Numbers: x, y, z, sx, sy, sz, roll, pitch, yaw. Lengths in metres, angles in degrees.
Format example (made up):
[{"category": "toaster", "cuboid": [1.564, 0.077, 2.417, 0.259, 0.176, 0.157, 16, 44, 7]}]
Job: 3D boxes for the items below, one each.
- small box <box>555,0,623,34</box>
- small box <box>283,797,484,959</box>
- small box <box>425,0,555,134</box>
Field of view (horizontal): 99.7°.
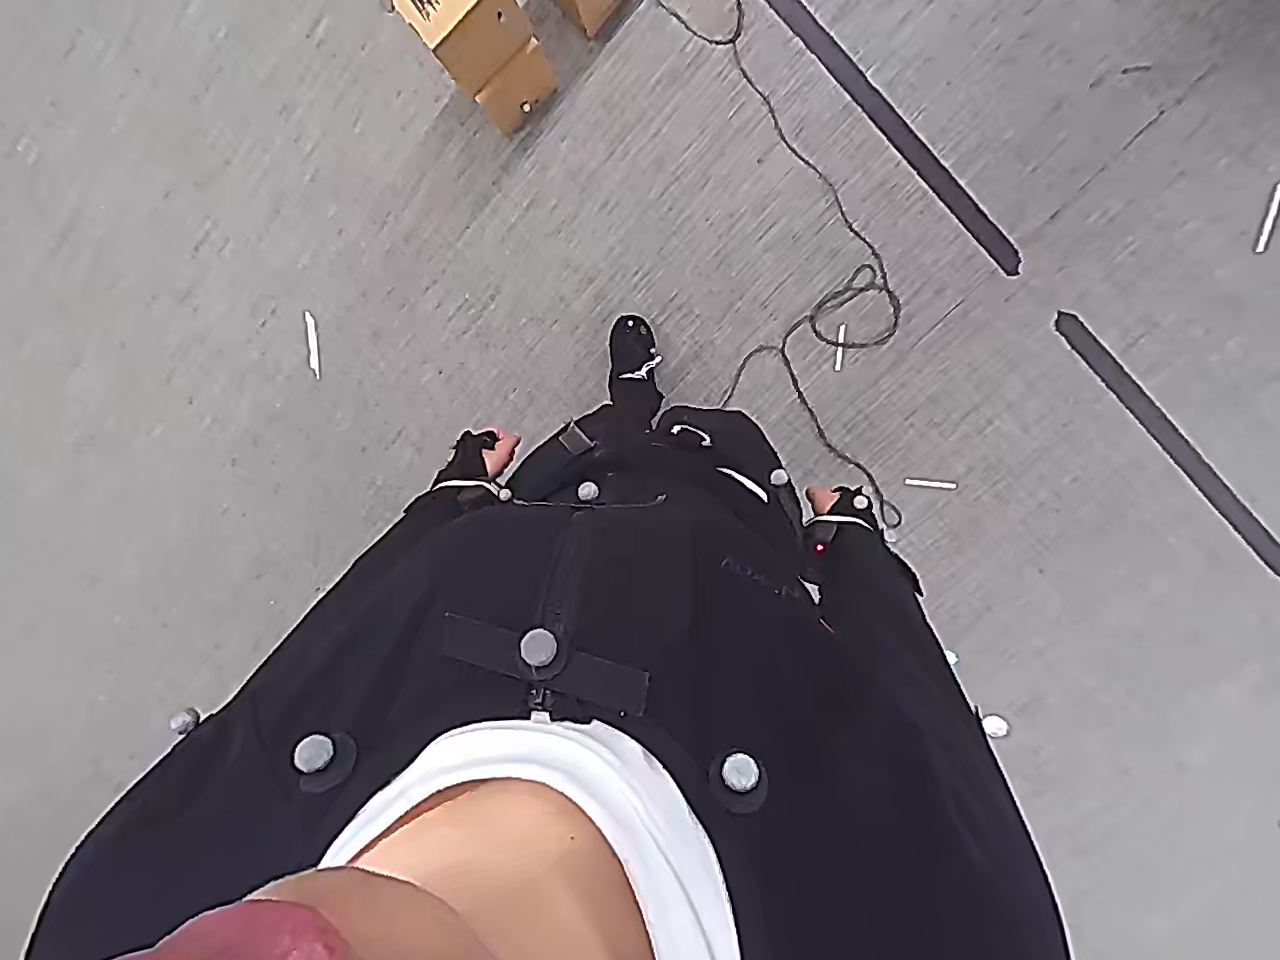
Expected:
[{"category": "small box", "cuboid": [-0.123, -1.072, 1.093, 0.168, 0.176, 0.179, -43, 95, 13]}, {"category": "small box", "cuboid": [-0.351, 0.611, 0.783, 0.168, 0.176, 0.179, 45, 101, -4]}, {"category": "small box", "cuboid": [-0.307, -0.888, 1.145, 0.168, 0.176, 0.179, -37, 97, 11]}]
